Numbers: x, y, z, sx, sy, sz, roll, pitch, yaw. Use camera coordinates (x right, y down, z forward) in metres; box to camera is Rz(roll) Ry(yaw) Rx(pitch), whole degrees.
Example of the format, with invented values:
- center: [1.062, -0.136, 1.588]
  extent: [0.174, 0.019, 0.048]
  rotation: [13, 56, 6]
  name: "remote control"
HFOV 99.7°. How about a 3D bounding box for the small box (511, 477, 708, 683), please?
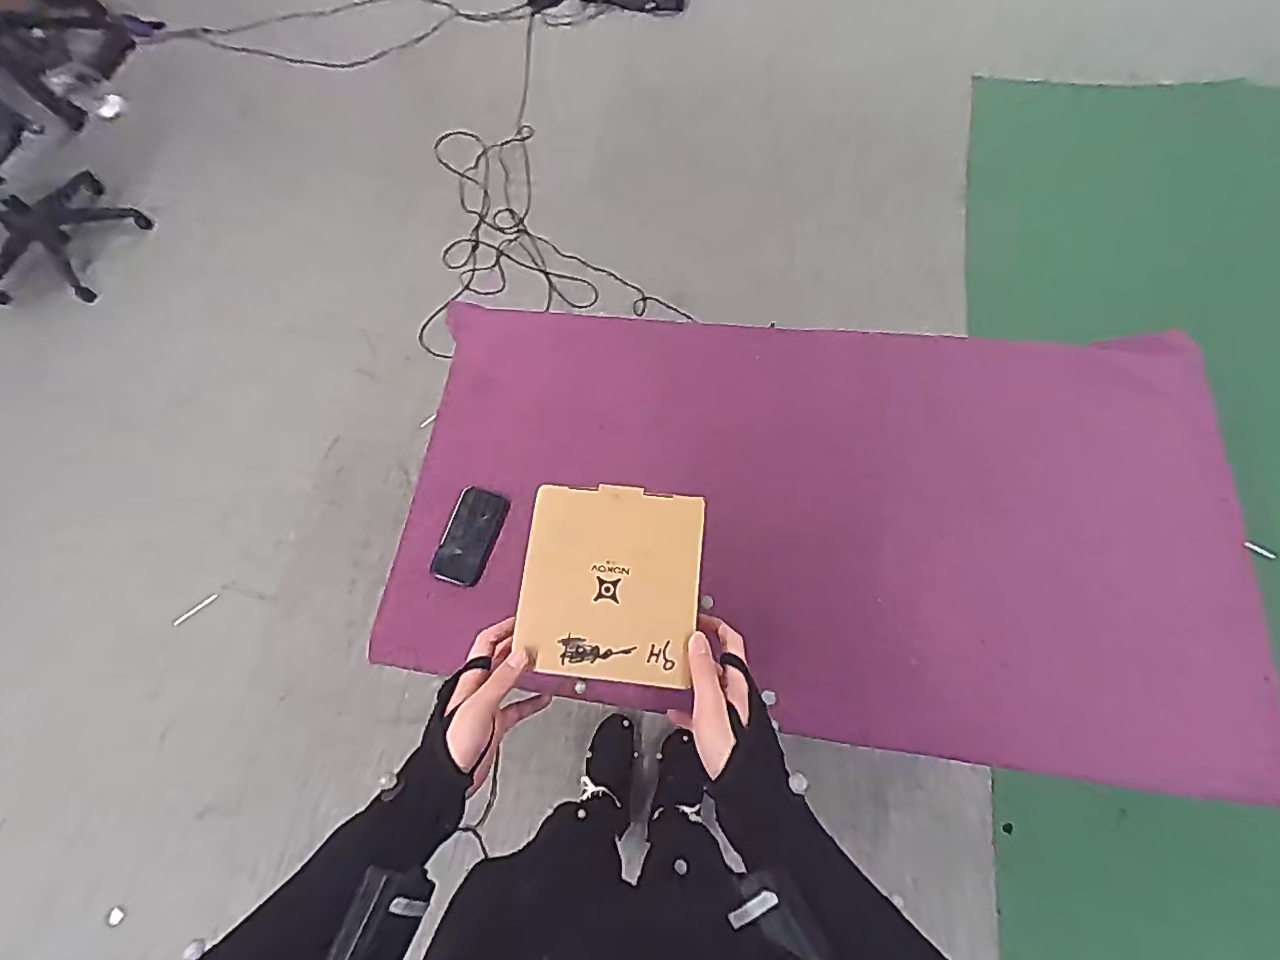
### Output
- center: [-0.019, 0.111, 0.574]
  extent: [0.168, 0.176, 0.179]
  rotation: [5, 73, 7]
  name: "small box"
